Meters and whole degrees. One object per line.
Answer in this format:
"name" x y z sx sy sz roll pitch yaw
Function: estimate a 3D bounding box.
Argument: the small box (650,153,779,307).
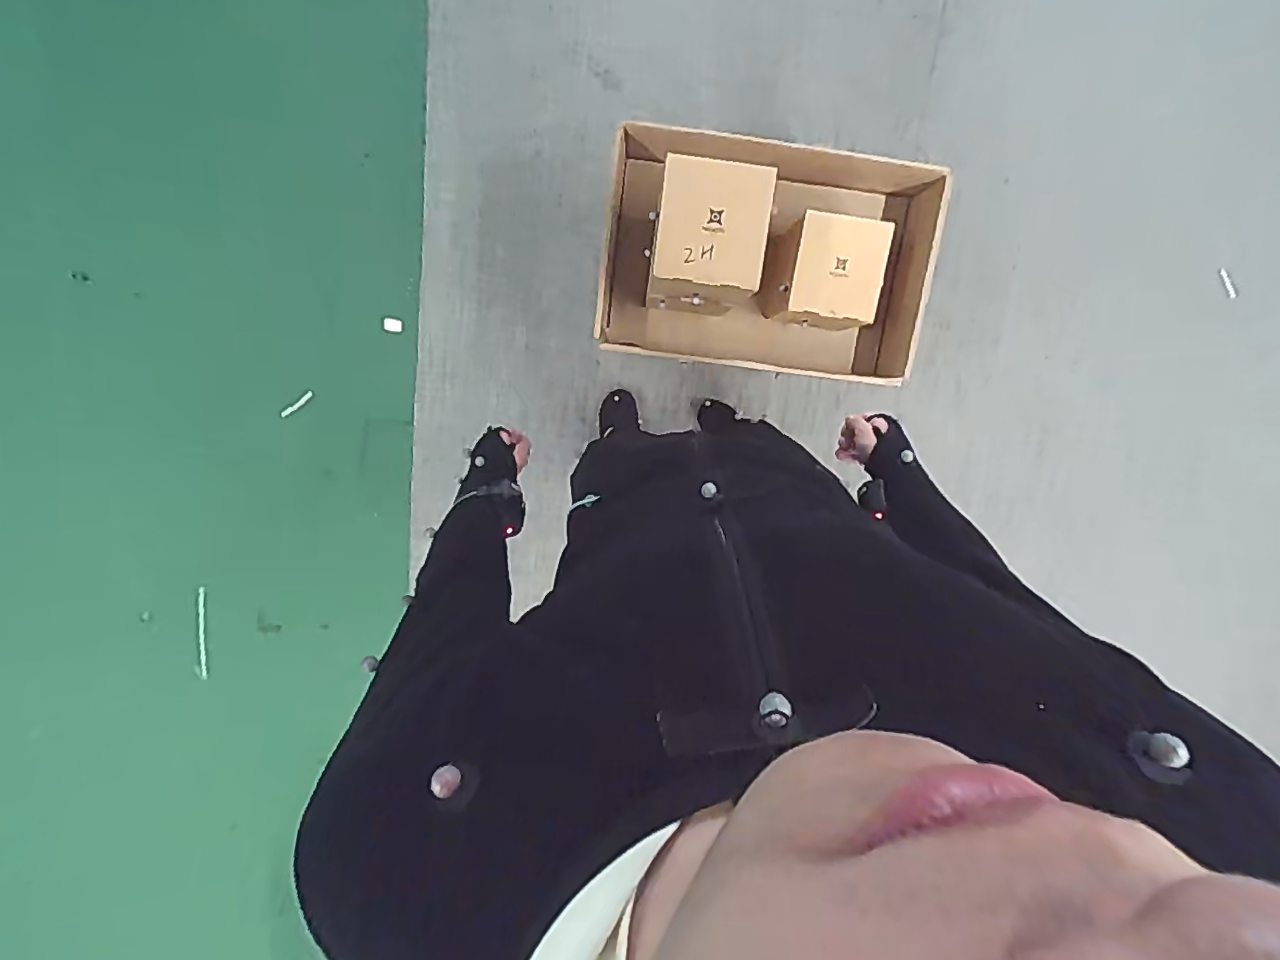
"small box" 0.109 -0.392 0.877 0.168 0.176 0.179 7 100 -3
